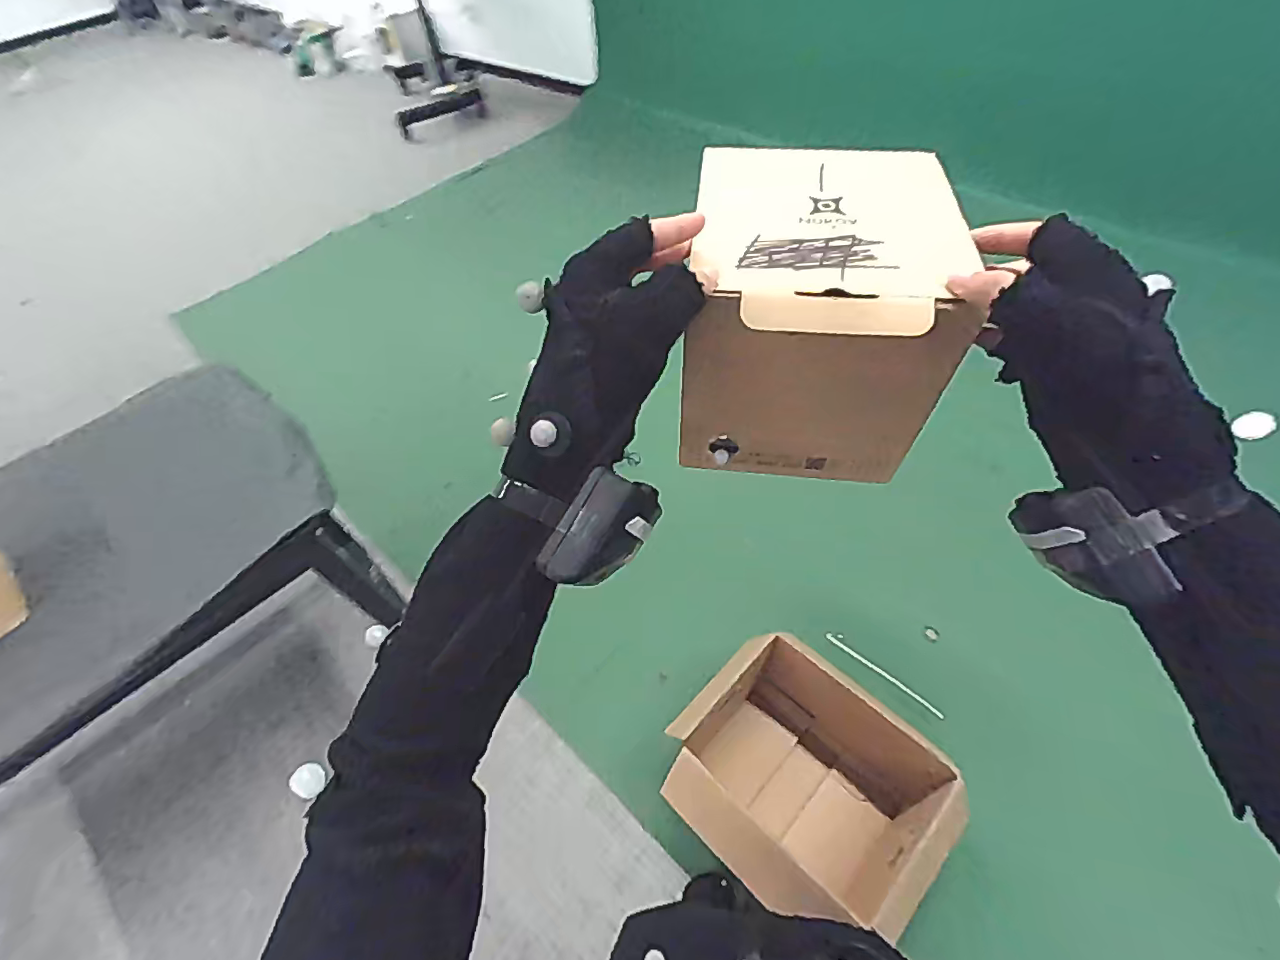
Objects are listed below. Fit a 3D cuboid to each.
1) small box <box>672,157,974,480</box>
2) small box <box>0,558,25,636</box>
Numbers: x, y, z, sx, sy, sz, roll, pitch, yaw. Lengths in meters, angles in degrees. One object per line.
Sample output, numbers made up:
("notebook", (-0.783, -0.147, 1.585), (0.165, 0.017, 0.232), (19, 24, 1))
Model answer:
("small box", (0.113, -0.117, 0.410), (0.168, 0.176, 0.179), (4, 54, 5))
("small box", (-1.077, 0.176, 0.790), (0.179, 0.176, 0.168), (33, 63, 27))
